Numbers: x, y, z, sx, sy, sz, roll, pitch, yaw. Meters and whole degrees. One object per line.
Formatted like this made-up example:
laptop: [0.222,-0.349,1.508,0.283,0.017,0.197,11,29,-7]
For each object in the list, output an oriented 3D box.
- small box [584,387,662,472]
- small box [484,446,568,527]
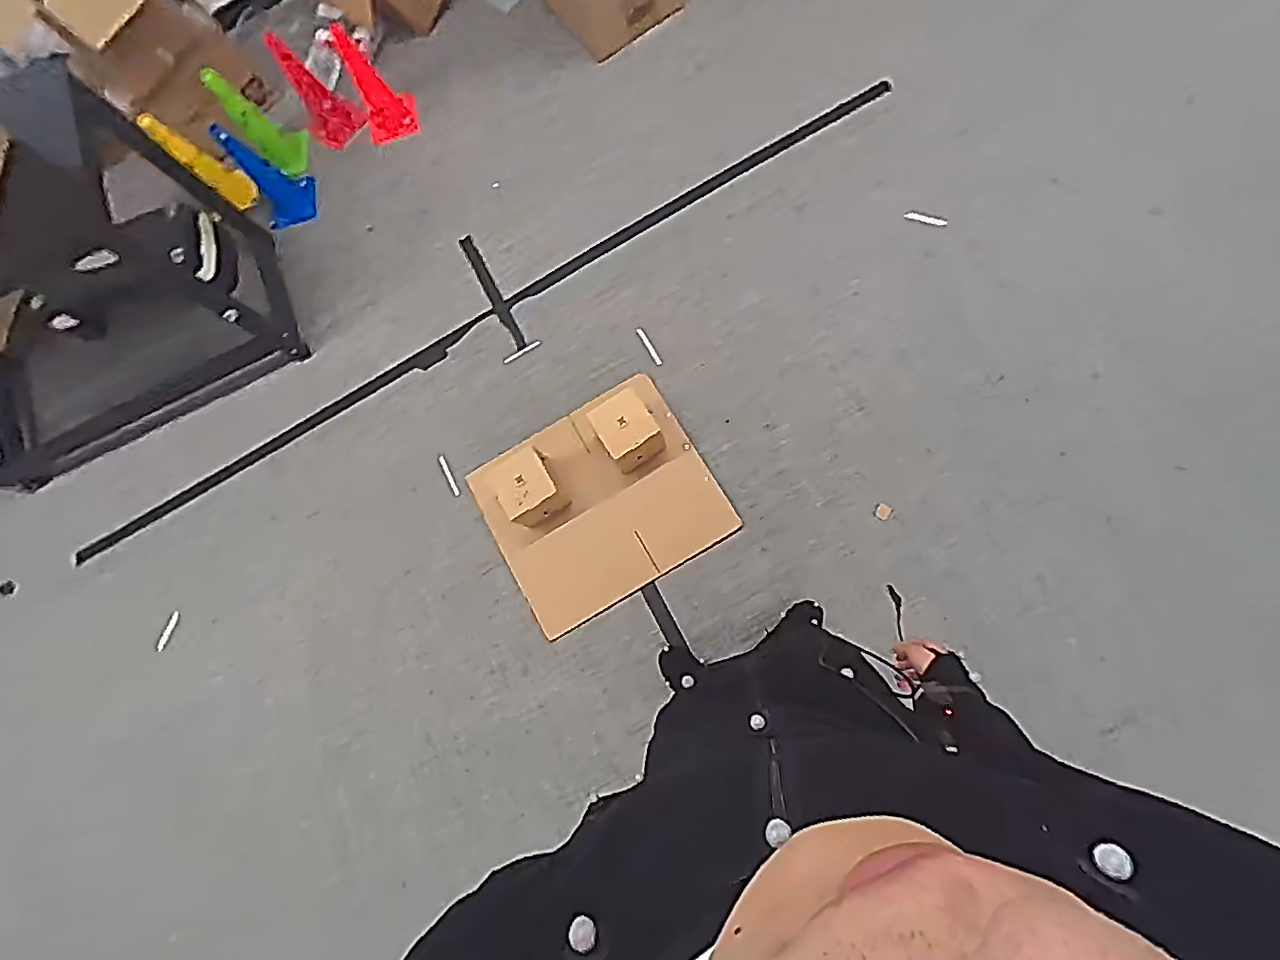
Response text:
small box: [-0.048,-0.148,1.672,0.168,0.176,0.179,-35,76,-1]
small box: [-0.344,0.026,1.664,0.168,0.176,0.179,-32,76,0]
